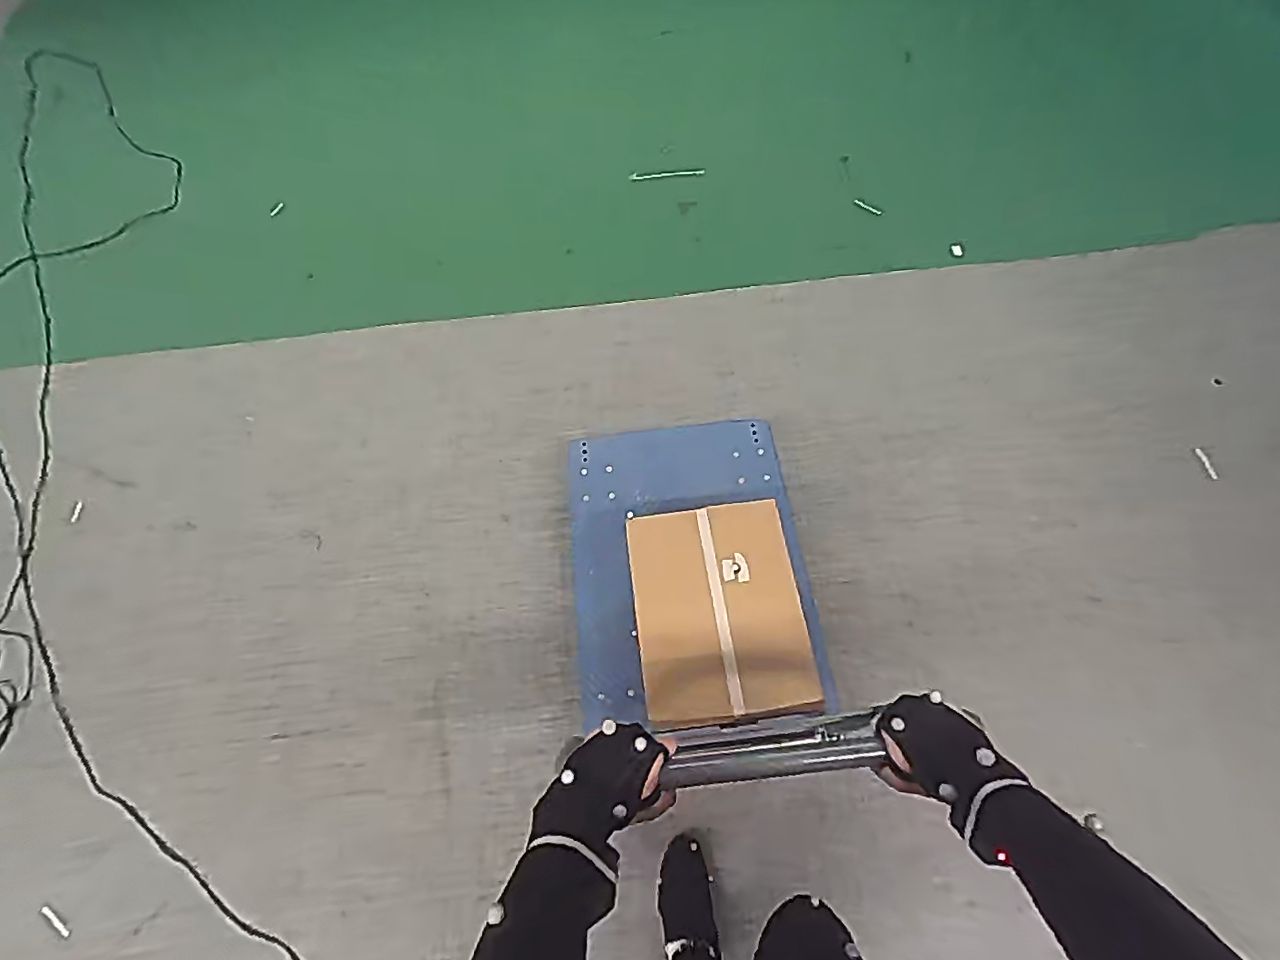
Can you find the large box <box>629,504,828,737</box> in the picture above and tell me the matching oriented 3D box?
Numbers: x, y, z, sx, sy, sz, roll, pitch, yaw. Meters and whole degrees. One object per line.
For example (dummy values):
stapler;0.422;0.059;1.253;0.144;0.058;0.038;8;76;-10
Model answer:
large box;0.163;0.312;1.162;0.320;0.320;0.408;-7;64;-1
